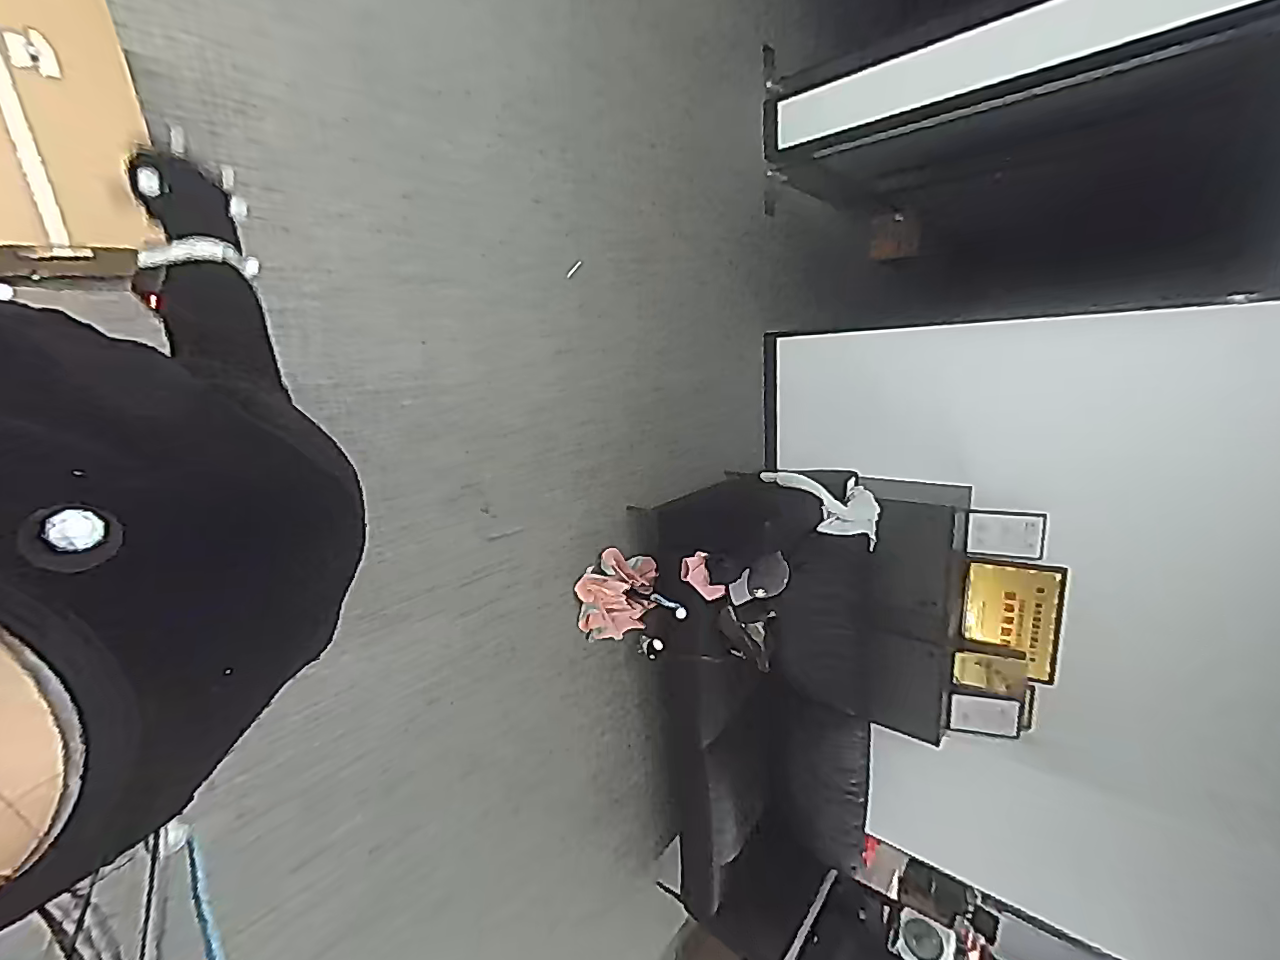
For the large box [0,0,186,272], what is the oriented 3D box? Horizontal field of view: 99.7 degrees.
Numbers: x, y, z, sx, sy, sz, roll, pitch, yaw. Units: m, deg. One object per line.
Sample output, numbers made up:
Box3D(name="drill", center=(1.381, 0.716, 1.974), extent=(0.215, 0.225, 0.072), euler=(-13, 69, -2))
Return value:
Box3D(name="large box", center=(-1.025, -0.572, 0.881), extent=(0.320, 0.320, 0.408), euler=(-24, 112, -46))
